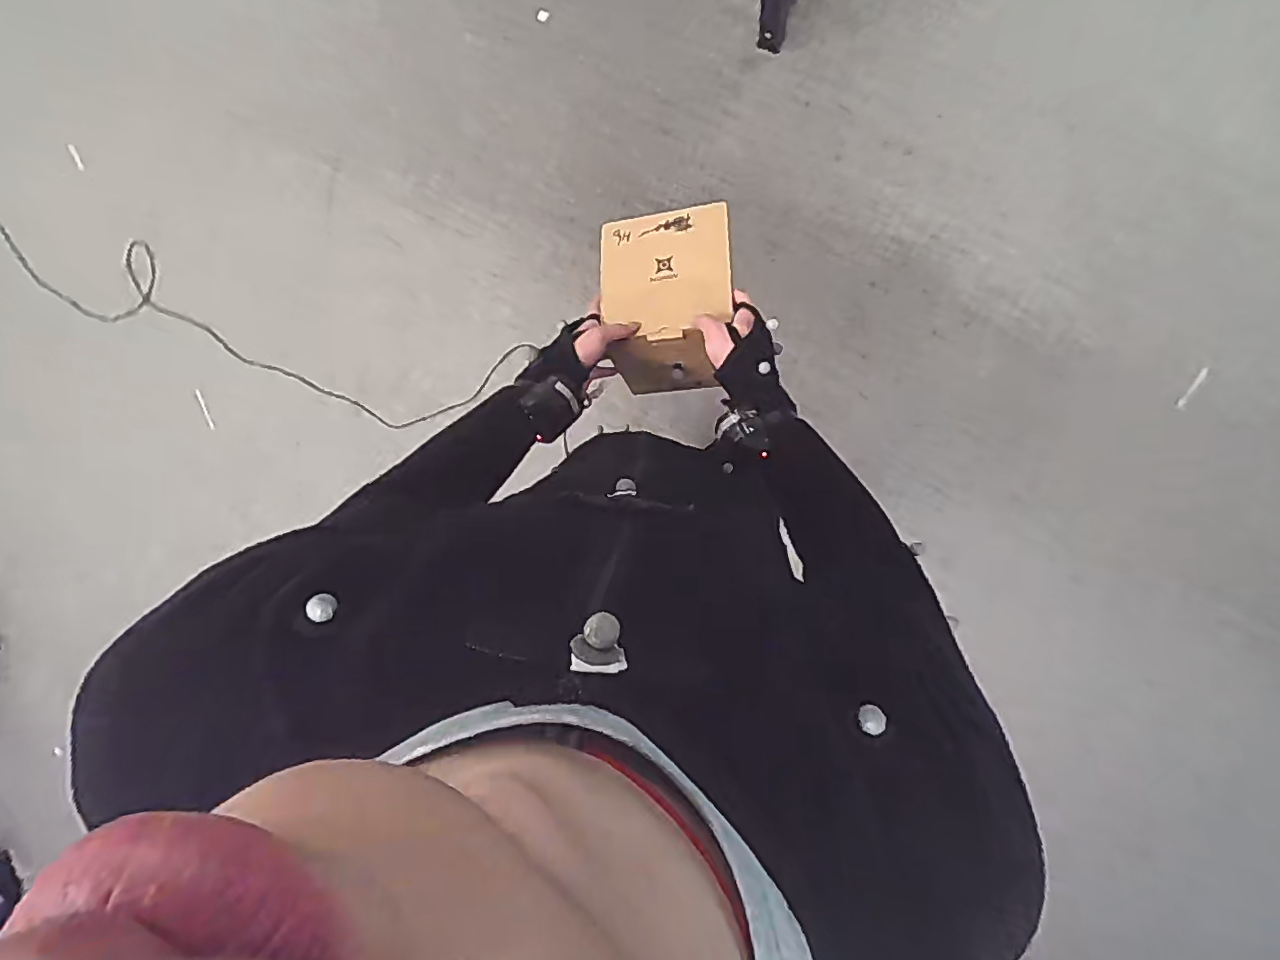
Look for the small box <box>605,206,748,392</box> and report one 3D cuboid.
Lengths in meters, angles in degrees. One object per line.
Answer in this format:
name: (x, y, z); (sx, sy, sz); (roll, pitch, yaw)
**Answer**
small box: (0.056, -0.233, 0.748); (0.168, 0.176, 0.179); (-5, 74, 14)
